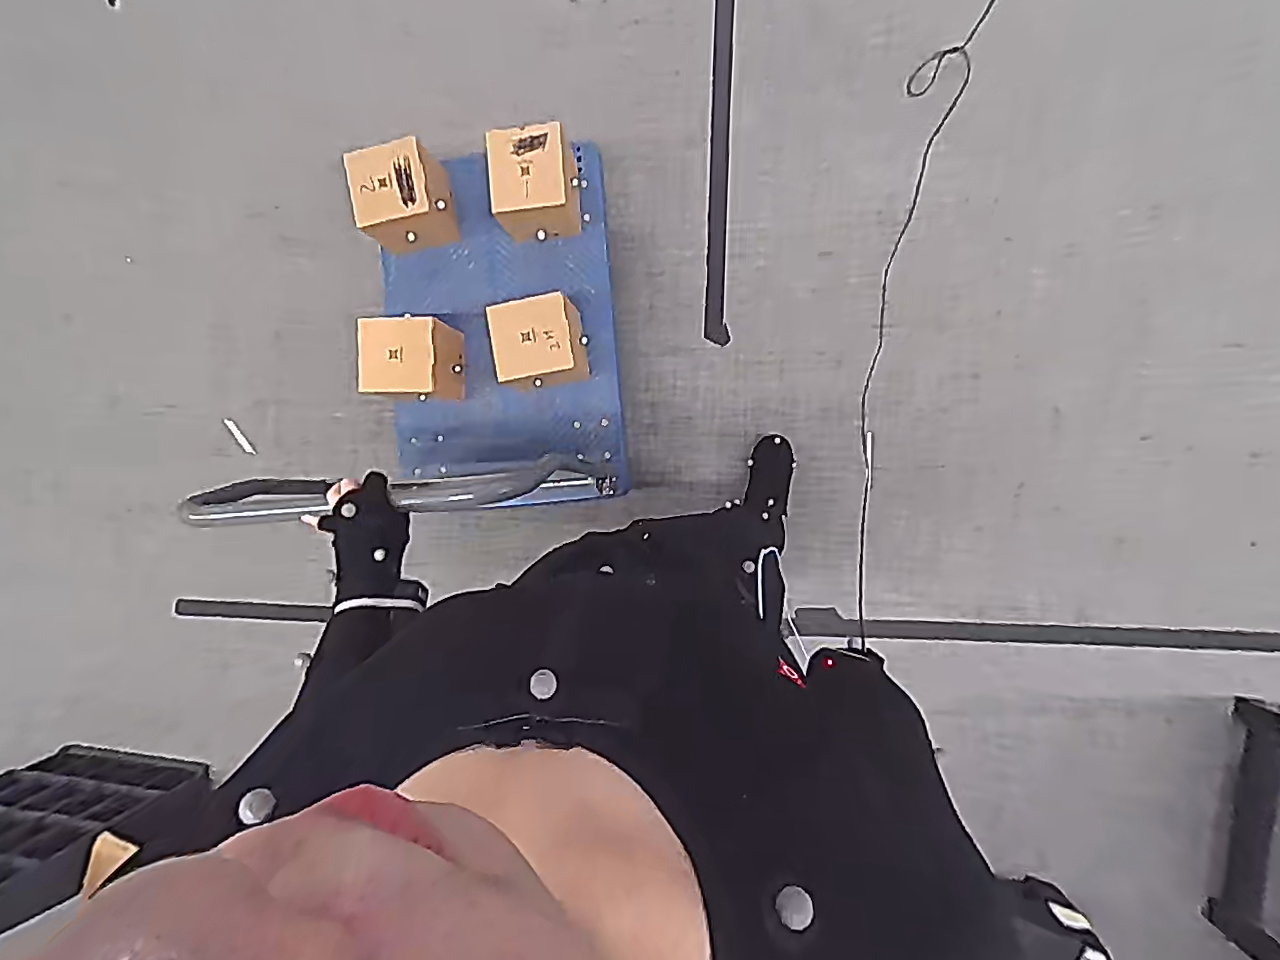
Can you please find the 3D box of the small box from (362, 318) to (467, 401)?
[{"bbox_3d":[-0.526,-0.277,1.275,0.179,0.176,0.168,0,91,5],"label":"small box"}]

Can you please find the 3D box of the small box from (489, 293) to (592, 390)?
[{"bbox_3d":[-0.222,-0.309,1.240,0.179,0.176,0.168,-9,91,7],"label":"small box"}]

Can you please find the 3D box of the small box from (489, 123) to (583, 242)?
[{"bbox_3d":[-0.230,-0.667,1.229,0.168,0.176,0.179,-4,93,6],"label":"small box"}]
